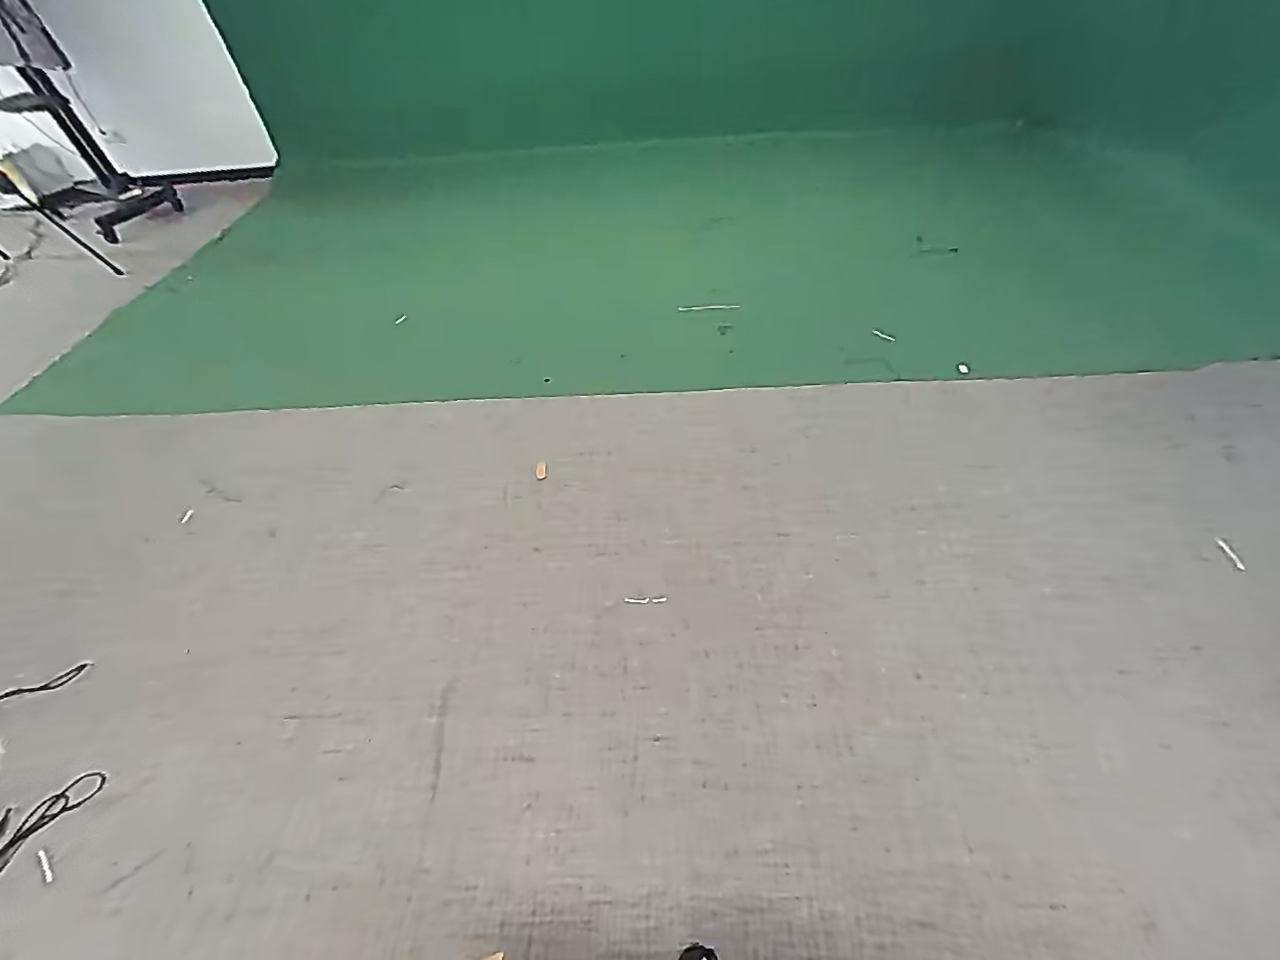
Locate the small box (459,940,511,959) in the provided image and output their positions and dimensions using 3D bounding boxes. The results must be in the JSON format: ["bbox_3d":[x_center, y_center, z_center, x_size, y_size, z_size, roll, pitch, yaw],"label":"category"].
[{"bbox_3d":[-0.220,0.695,0.611,0.168,0.179,0.176,-19,83,-10],"label":"small box"}]
